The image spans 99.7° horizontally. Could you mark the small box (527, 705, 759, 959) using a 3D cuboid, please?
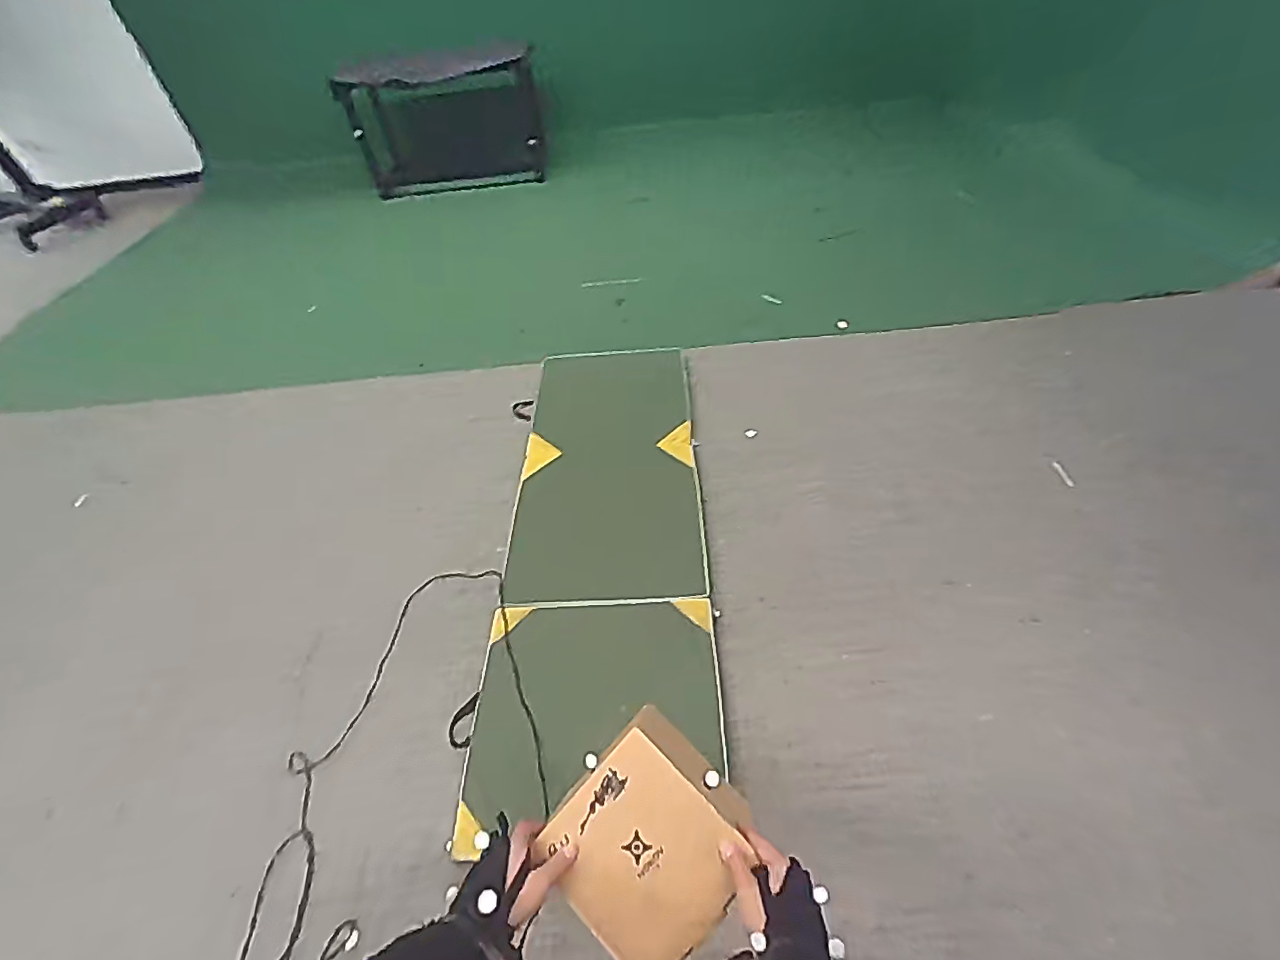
[{"bbox_3d":[0.009,0.383,0.613,0.179,0.176,0.168,41,82,14],"label":"small box"}]
